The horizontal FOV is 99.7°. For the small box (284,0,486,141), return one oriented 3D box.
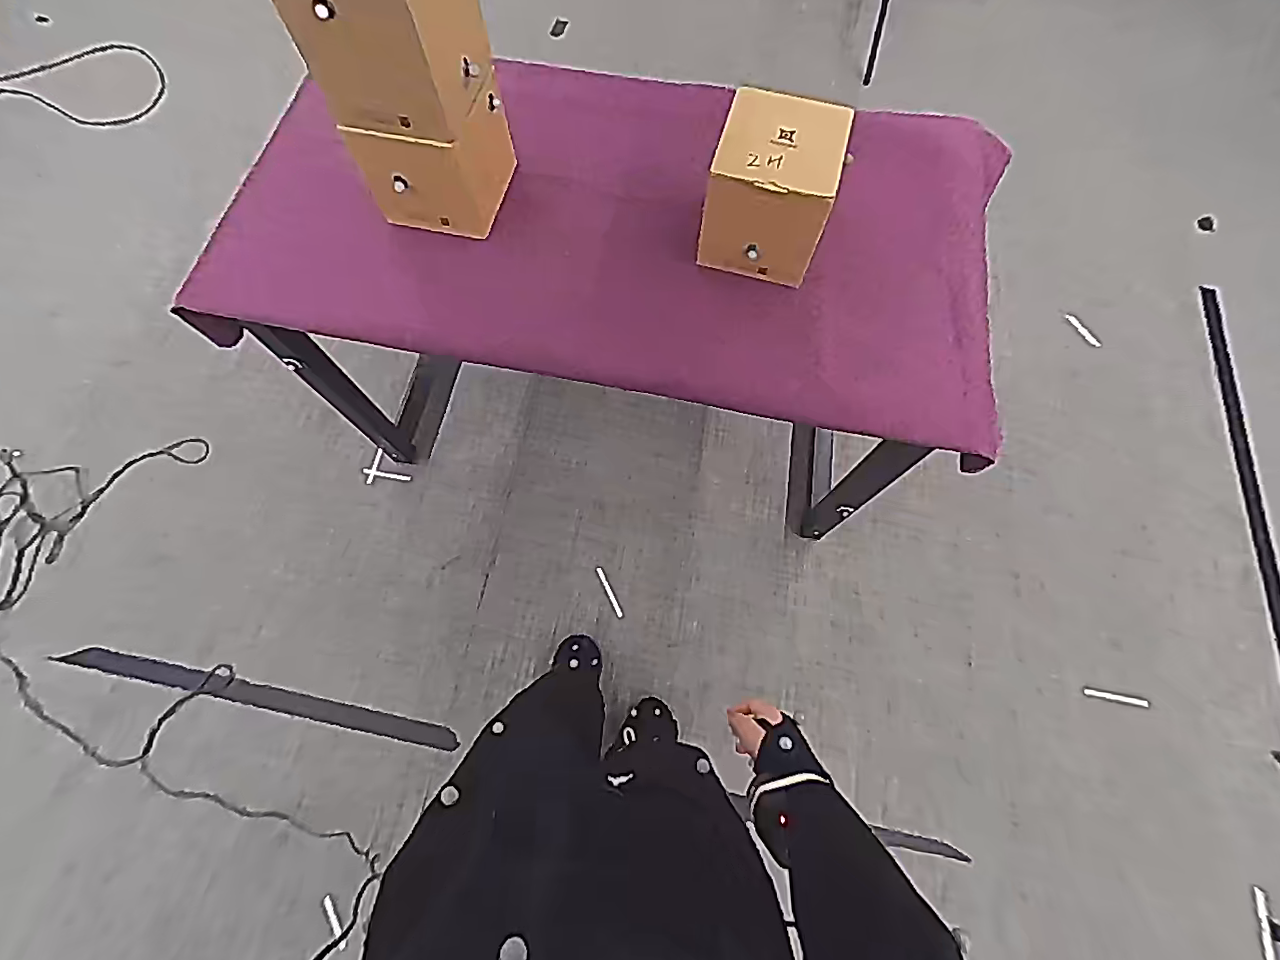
[{"bbox_3d":[-0.304,-0.565,0.668,0.168,0.176,0.179,11,69,3],"label":"small box"}]

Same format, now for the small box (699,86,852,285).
[{"bbox_3d":[0.190,-0.426,0.796,0.168,0.176,0.179,15,71,6],"label":"small box"}]

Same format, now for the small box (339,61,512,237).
[{"bbox_3d":[-0.307,-0.503,0.820,0.168,0.176,0.179,11,70,4],"label":"small box"}]
